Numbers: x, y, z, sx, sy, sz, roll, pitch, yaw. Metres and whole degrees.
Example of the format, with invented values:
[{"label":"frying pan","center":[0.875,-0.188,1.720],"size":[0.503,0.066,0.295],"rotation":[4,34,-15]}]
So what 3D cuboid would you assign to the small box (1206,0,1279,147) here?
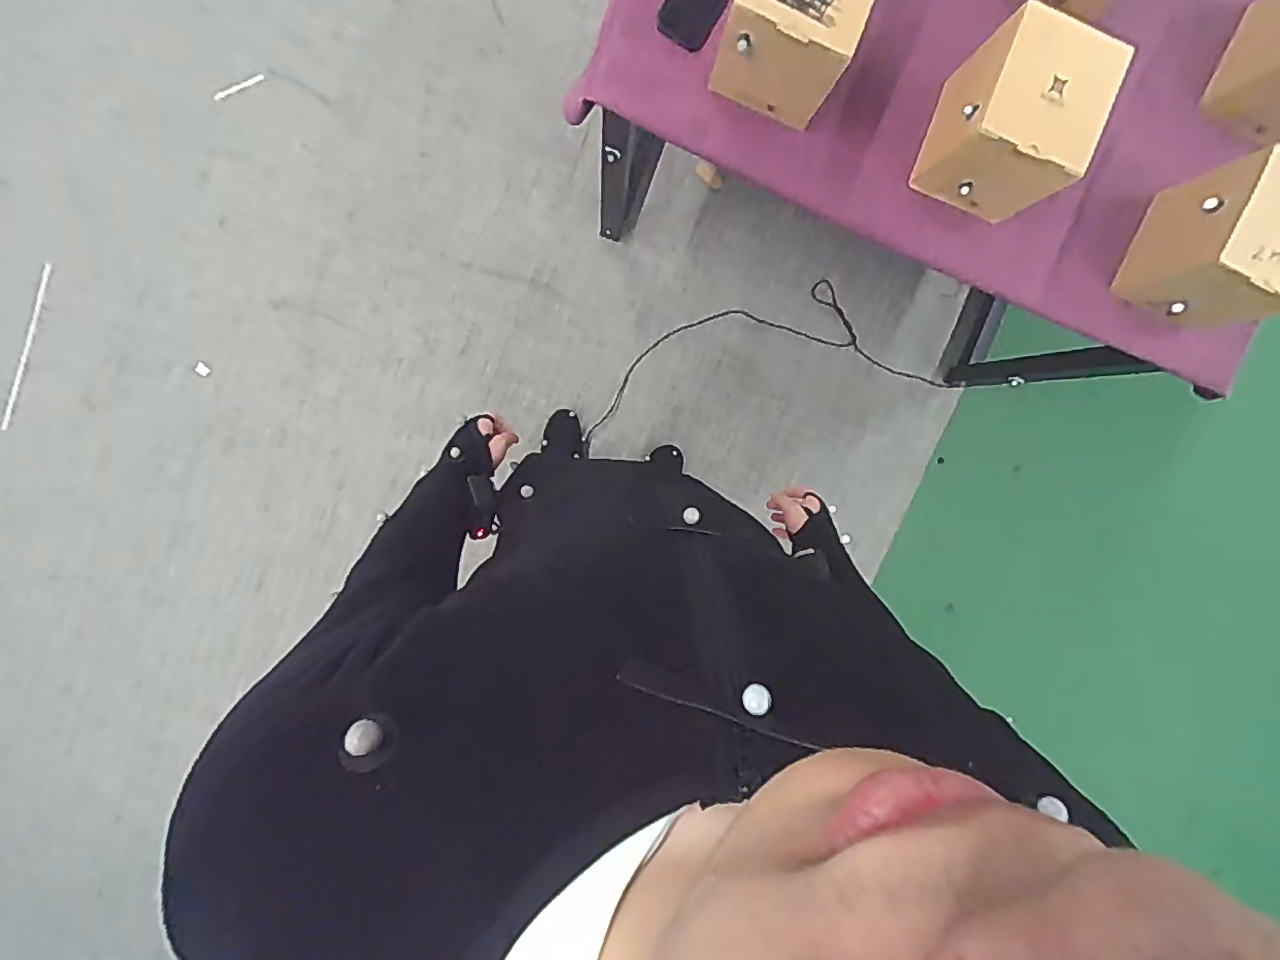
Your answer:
[{"label":"small box","center":[1.030,-0.653,0.810],"size":[0.168,0.176,0.179],"rotation":[23,94,-6]}]

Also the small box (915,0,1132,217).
[{"label":"small box","center":[0.541,-0.523,0.789],"size":[0.168,0.176,0.179],"rotation":[19,94,-6]}]

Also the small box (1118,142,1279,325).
[{"label":"small box","center":[0.905,-0.362,0.831],"size":[0.168,0.176,0.179],"rotation":[23,94,-5]}]
